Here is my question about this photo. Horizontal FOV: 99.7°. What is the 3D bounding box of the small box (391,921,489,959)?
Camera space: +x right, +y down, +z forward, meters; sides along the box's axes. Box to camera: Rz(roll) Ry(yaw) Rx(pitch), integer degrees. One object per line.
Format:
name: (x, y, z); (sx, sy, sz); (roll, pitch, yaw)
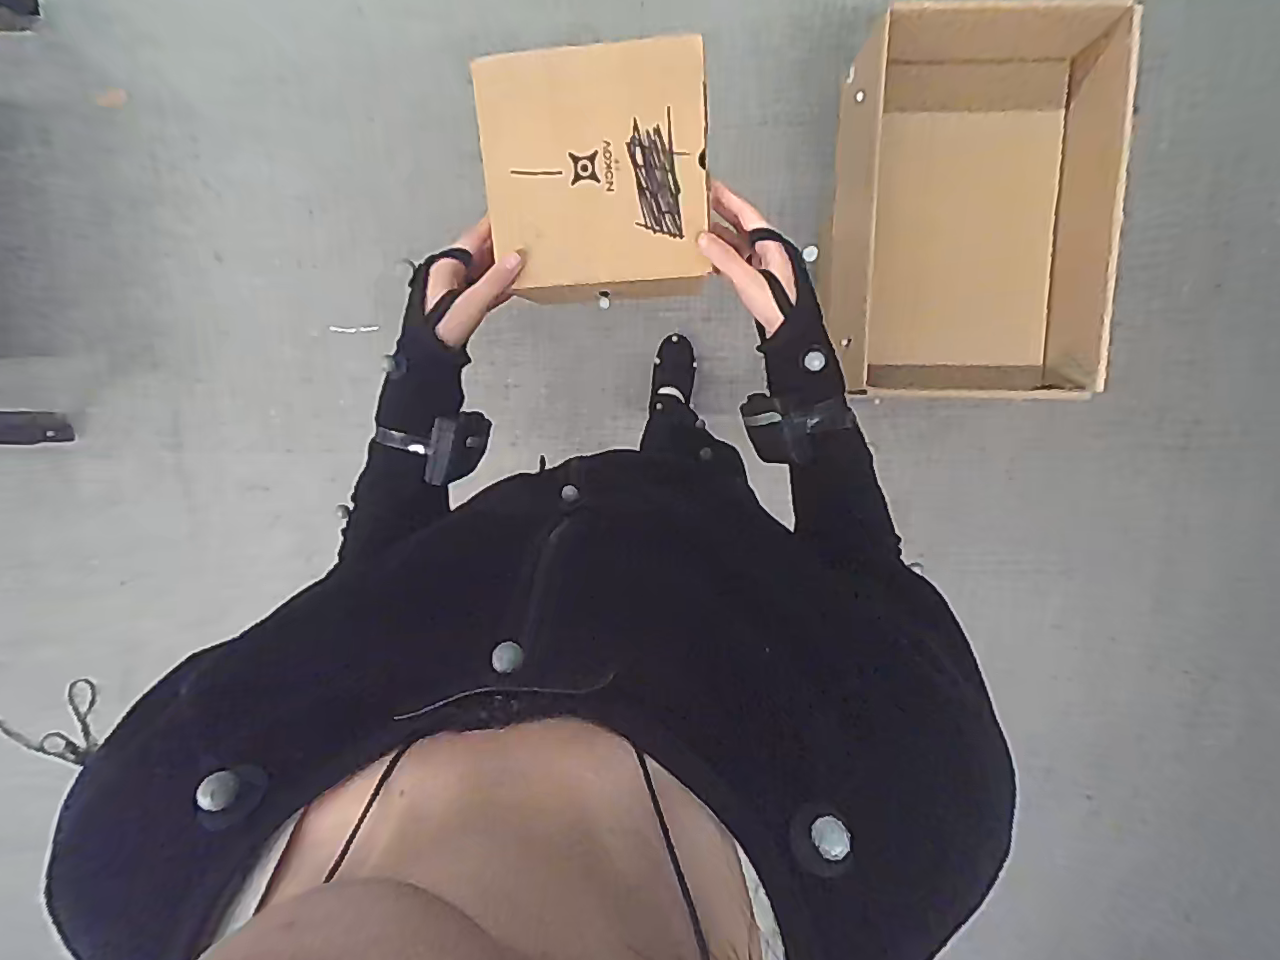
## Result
small box: (-0.390, 0.992, 1.027); (0.168, 0.176, 0.179); (-3, 93, 2)
